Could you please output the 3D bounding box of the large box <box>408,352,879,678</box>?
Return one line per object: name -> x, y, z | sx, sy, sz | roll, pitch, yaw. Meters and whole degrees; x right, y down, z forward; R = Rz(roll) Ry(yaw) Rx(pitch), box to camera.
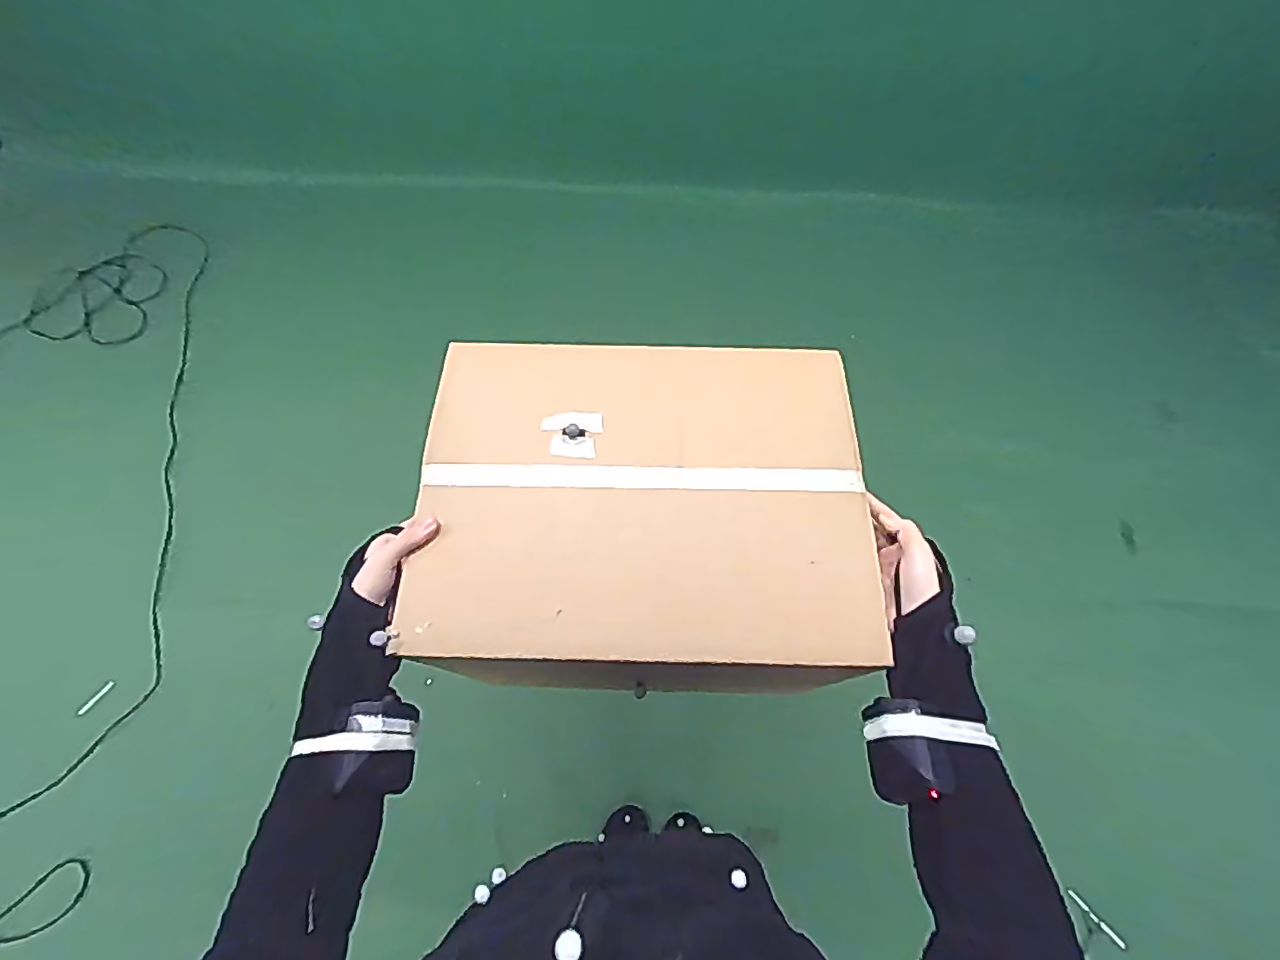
large box -> 0.007, 0.066, 0.647 | 0.408, 0.320, 0.320 | 1, 65, 2
